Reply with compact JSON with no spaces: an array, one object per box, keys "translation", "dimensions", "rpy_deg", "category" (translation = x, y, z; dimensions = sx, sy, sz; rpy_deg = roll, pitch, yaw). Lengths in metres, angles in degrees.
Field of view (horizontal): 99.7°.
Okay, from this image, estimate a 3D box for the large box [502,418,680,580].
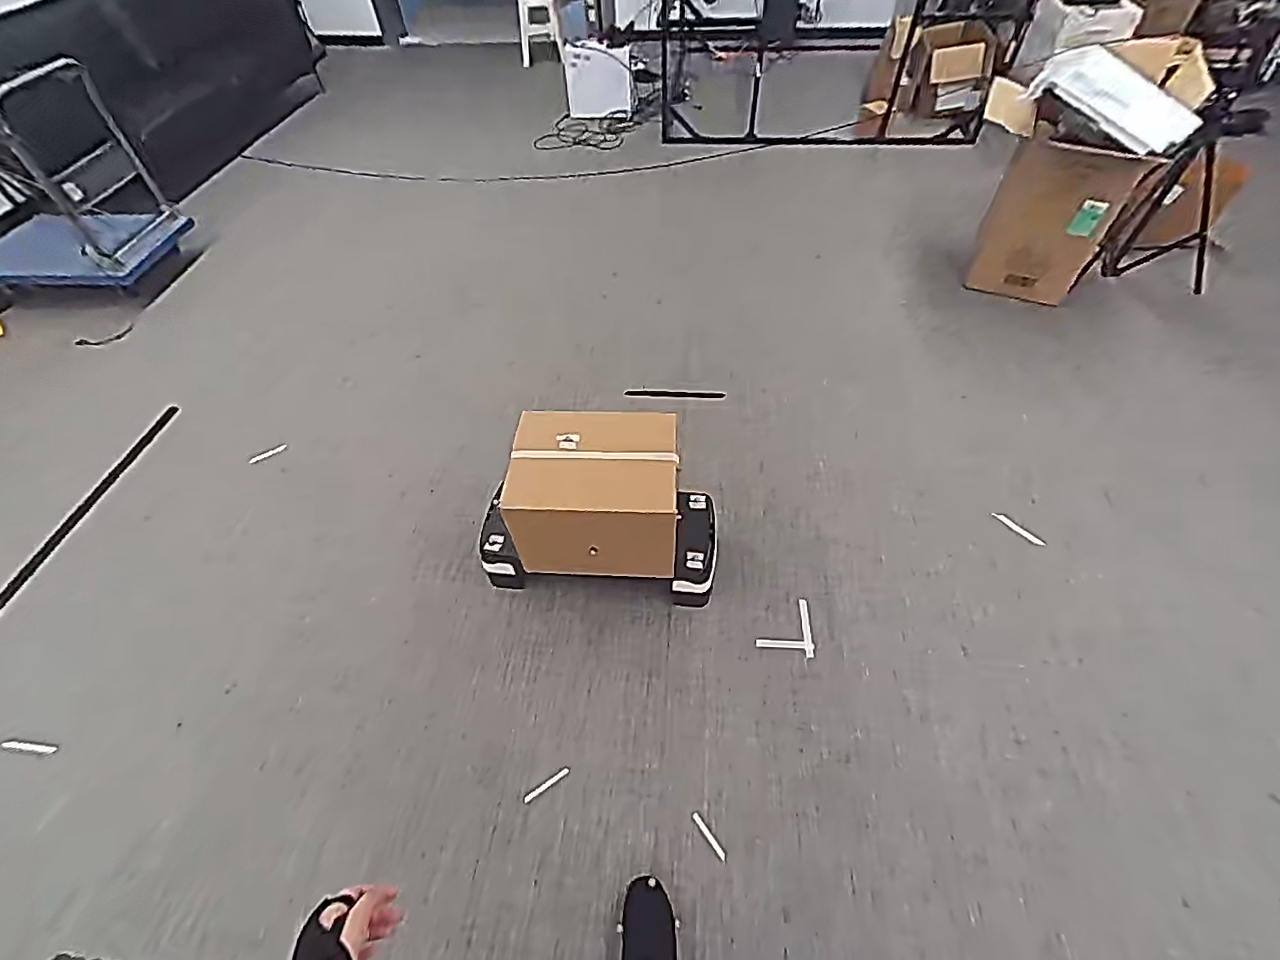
[{"translation":[-0.099,0.054,1.410],"dimensions":[0.408,0.320,0.320],"rpy_deg":[1,51,4],"category":"large box"}]
